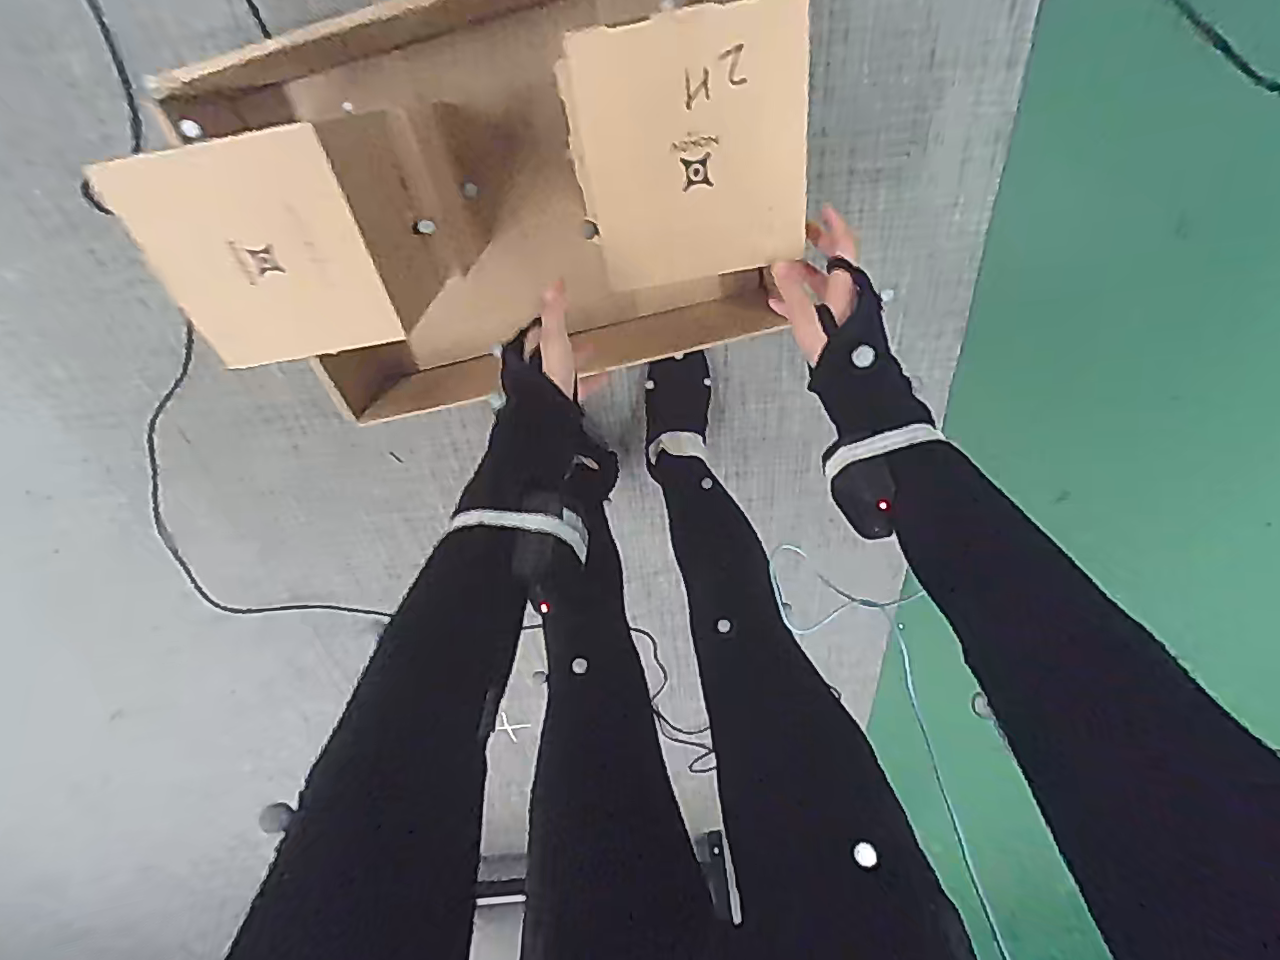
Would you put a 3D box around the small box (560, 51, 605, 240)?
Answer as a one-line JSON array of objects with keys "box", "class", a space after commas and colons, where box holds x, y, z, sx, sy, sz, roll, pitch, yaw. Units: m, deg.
[{"box": [0.020, -0.382, 0.605, 0.179, 0.176, 0.168, -8, 125, 3], "class": "small box"}]

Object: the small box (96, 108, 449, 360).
[{"box": [-0.301, -0.229, 0.496, 0.179, 0.176, 0.168, -8, 127, 2], "class": "small box"}]

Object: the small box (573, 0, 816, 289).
[{"box": [0.043, -0.288, 0.471, 0.168, 0.176, 0.179, -9, 125, 2], "class": "small box"}]
